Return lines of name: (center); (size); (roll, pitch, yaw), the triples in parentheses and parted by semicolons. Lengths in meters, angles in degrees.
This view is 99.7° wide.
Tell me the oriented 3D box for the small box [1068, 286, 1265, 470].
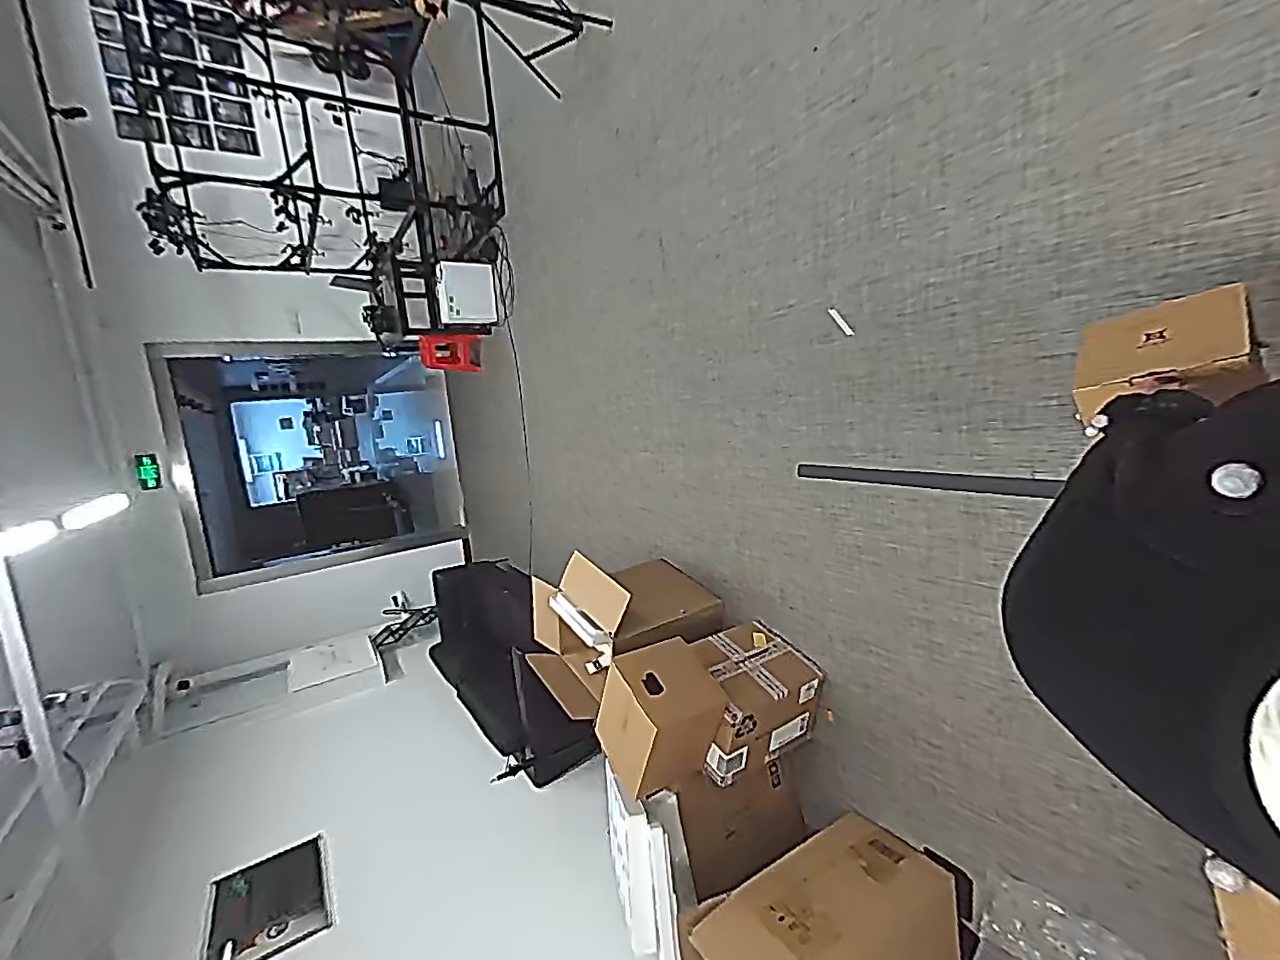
small box: (0.729, -0.127, 0.751); (0.168, 0.179, 0.176); (-10, 124, 51)
